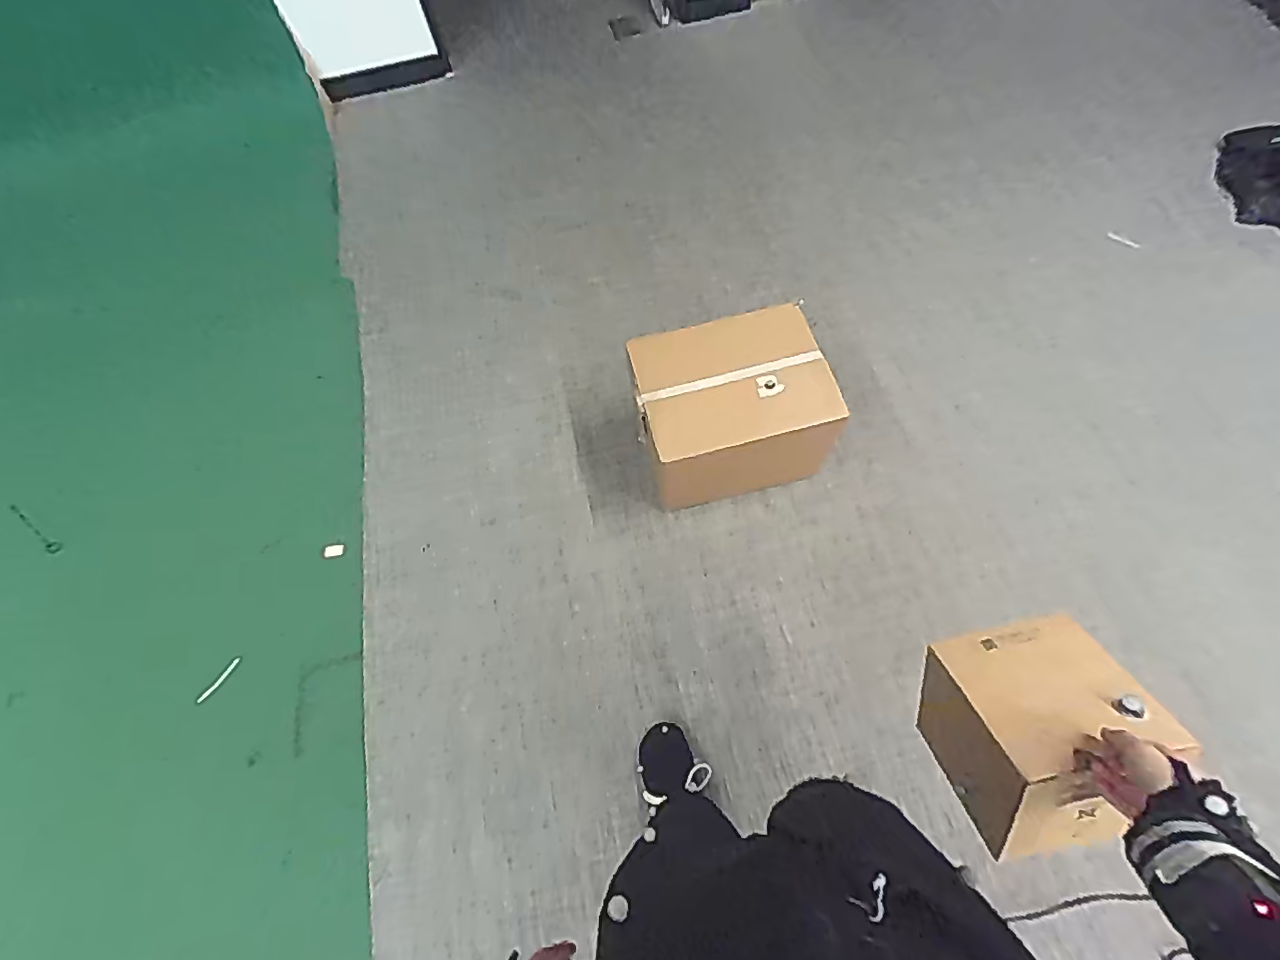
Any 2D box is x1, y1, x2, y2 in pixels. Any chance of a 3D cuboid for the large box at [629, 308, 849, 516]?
[{"bbox_3d":[0.208,-0.147,1.288,0.408,0.320,0.320,-14,67,-3],"label":"large box"}]
